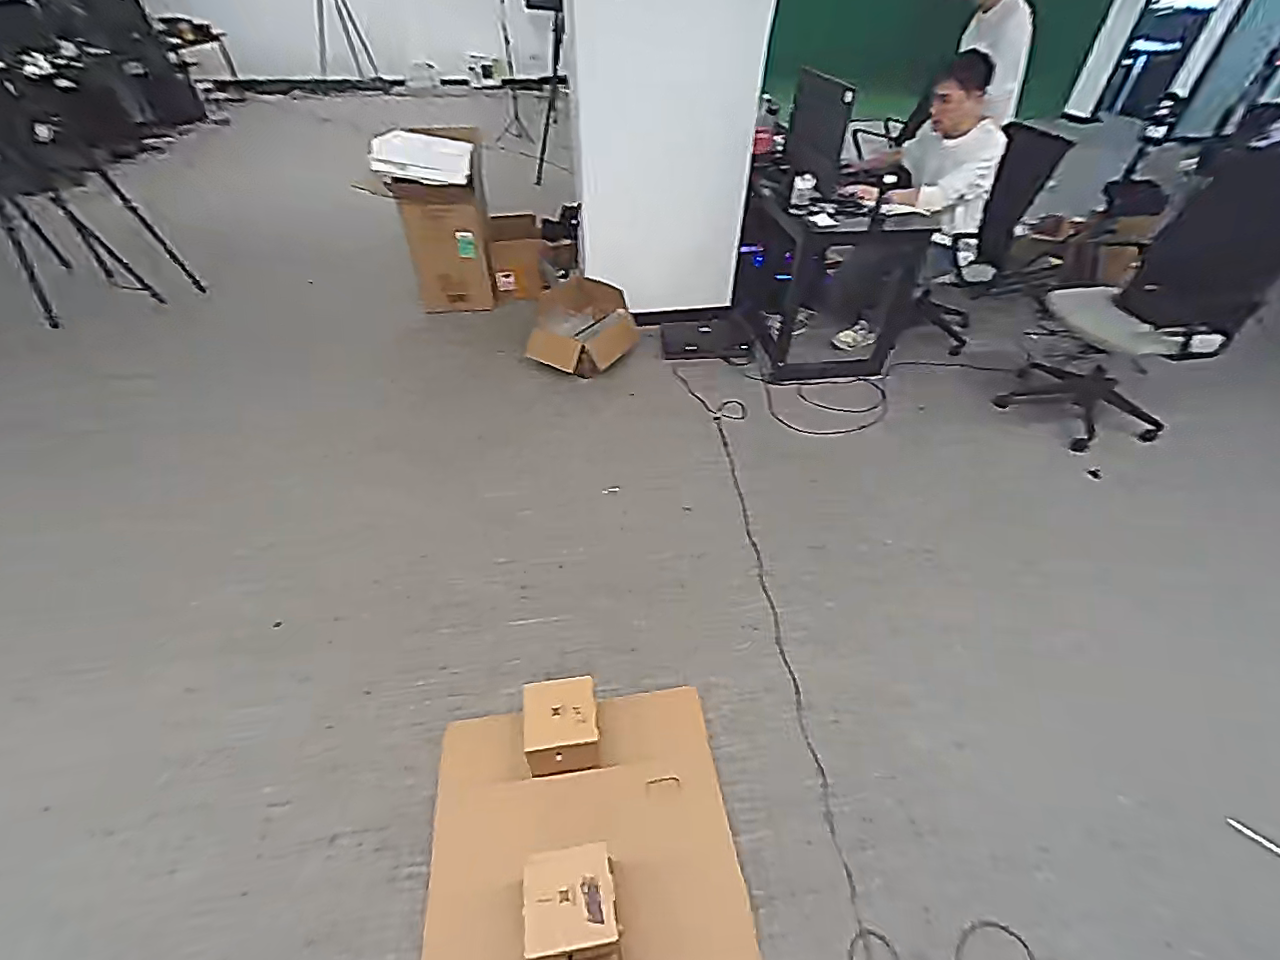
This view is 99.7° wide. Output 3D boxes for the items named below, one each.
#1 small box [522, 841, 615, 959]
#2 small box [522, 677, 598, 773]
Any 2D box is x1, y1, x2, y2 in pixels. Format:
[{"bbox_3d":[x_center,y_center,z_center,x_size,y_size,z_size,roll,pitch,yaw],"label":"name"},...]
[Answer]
[{"bbox_3d":[-0.147,0.877,1.122,0.179,0.176,0.168,-5,44,-7],"label":"small box"},{"bbox_3d":[-0.202,0.628,1.380,0.179,0.176,0.168,-4,44,-8],"label":"small box"}]
